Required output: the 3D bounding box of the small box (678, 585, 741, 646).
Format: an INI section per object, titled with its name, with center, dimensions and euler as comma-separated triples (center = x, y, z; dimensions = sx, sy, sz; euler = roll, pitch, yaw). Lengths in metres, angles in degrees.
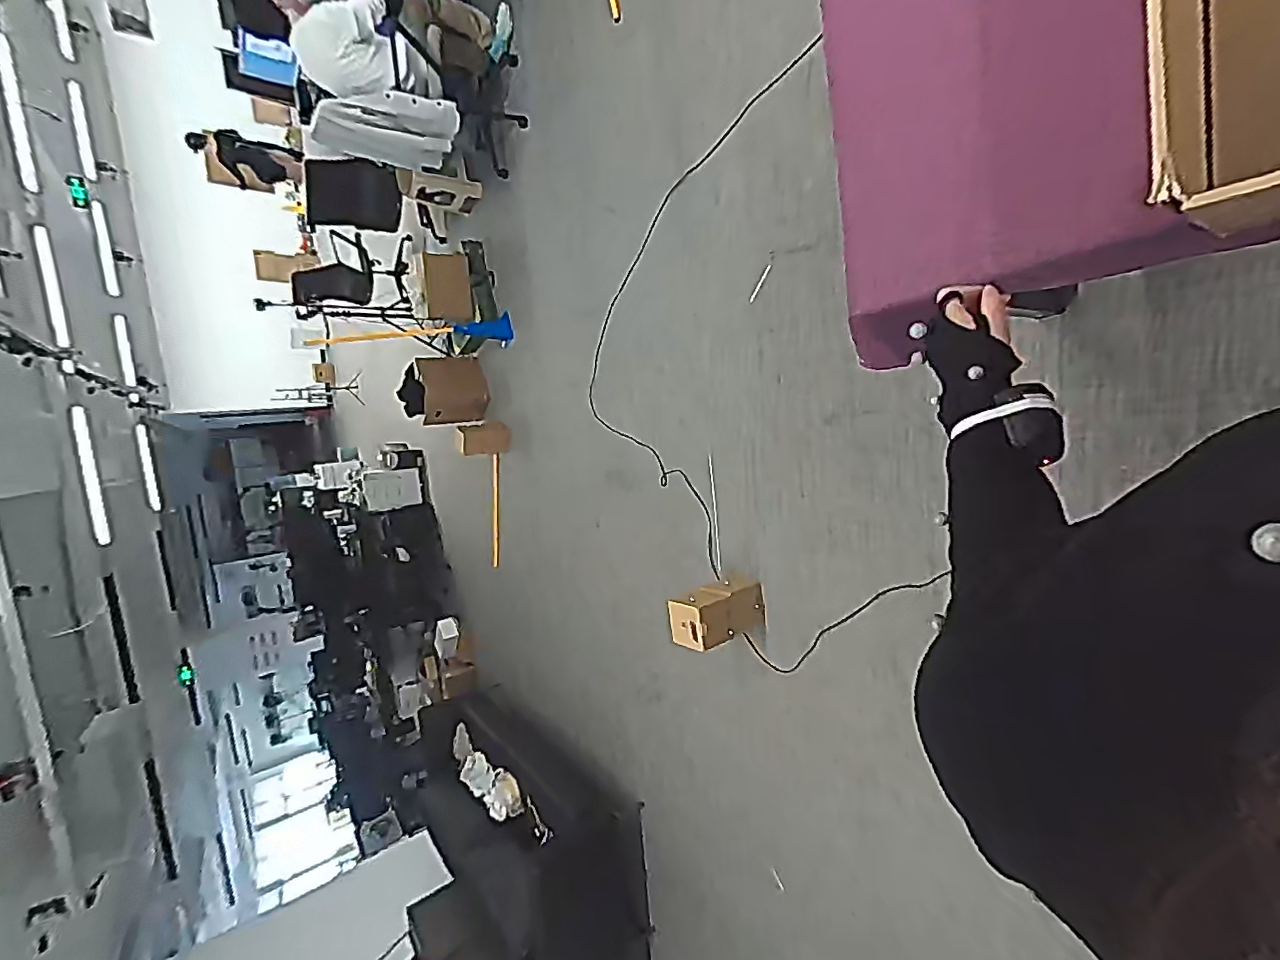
[small box]
center = 0.270, 0.508, 2.058
dimensions = 0.179, 0.176, 0.168
euler = -1, 97, 56
